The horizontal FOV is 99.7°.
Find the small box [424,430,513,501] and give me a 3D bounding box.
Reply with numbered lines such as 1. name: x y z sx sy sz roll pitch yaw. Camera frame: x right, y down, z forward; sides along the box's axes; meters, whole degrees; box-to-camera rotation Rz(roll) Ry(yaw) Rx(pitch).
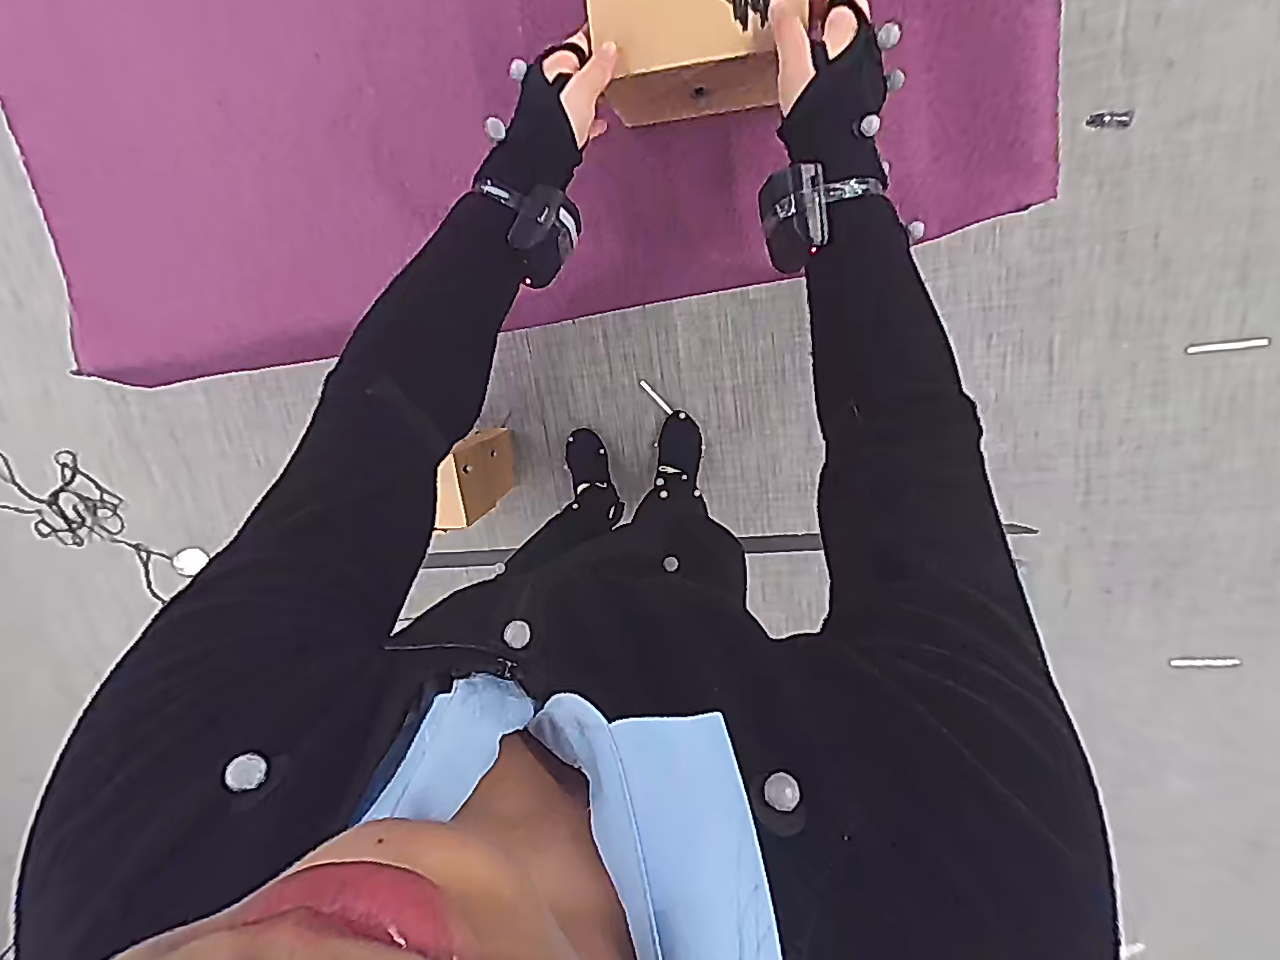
1. small box: -0.449 -0.031 1.442 0.168 0.176 0.179 0 105 8

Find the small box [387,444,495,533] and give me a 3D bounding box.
1. small box: -0.464 0.013 1.284 0.168 0.176 0.179 -5 104 9
